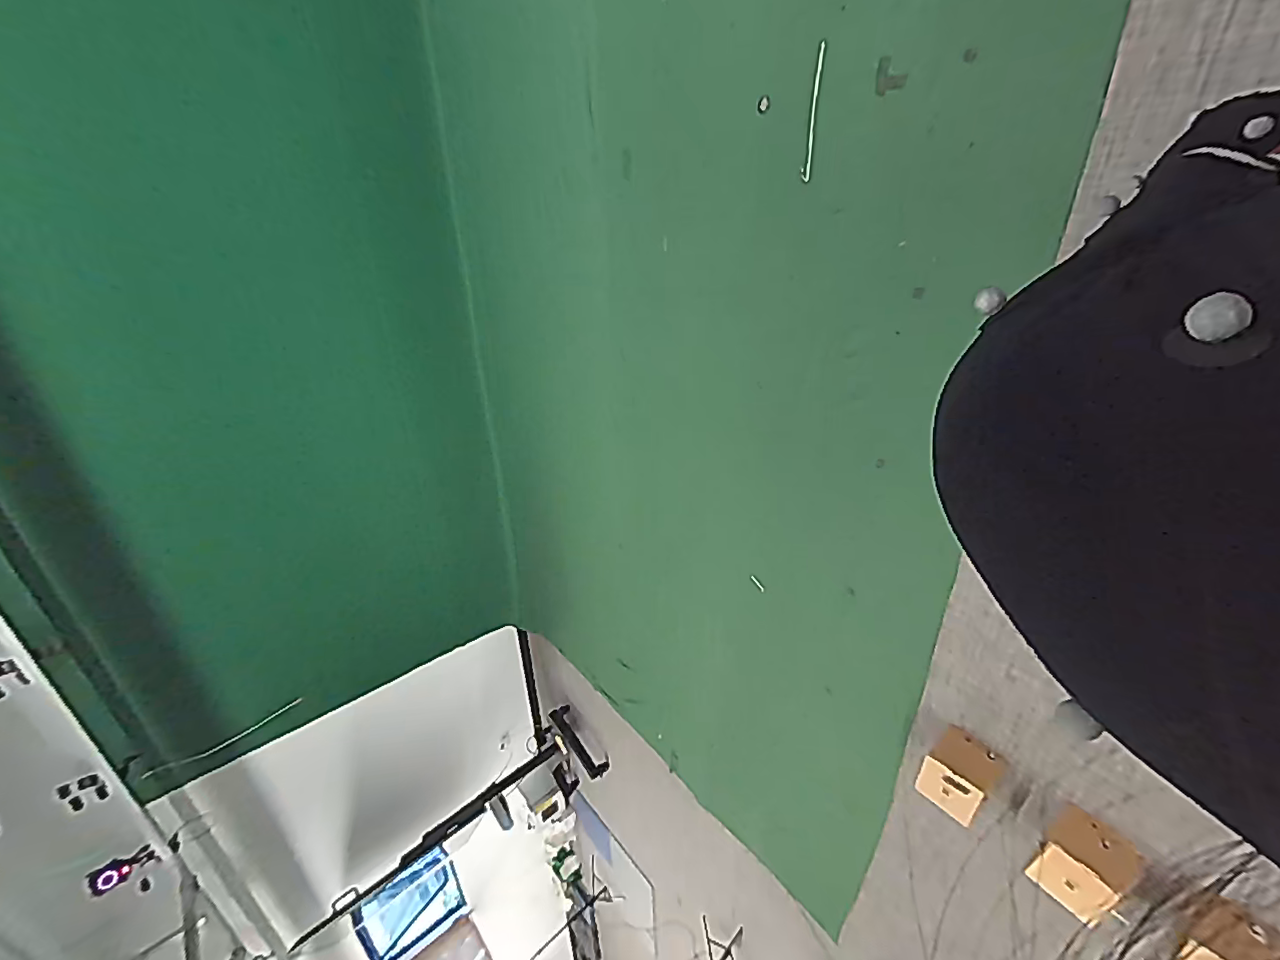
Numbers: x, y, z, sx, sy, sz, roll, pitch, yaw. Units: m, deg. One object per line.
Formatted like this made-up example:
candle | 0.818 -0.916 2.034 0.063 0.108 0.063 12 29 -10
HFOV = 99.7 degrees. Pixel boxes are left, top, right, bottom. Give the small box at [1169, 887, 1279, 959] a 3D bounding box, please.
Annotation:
small box | 1.381 1.118 1.261 0.168 0.176 0.179 23 124 44

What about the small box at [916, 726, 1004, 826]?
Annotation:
small box | 0.992 0.908 1.673 0.168 0.176 0.179 29 130 43

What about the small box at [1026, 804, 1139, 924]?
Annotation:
small box | 1.198 1.032 1.463 0.168 0.176 0.179 34 132 39
